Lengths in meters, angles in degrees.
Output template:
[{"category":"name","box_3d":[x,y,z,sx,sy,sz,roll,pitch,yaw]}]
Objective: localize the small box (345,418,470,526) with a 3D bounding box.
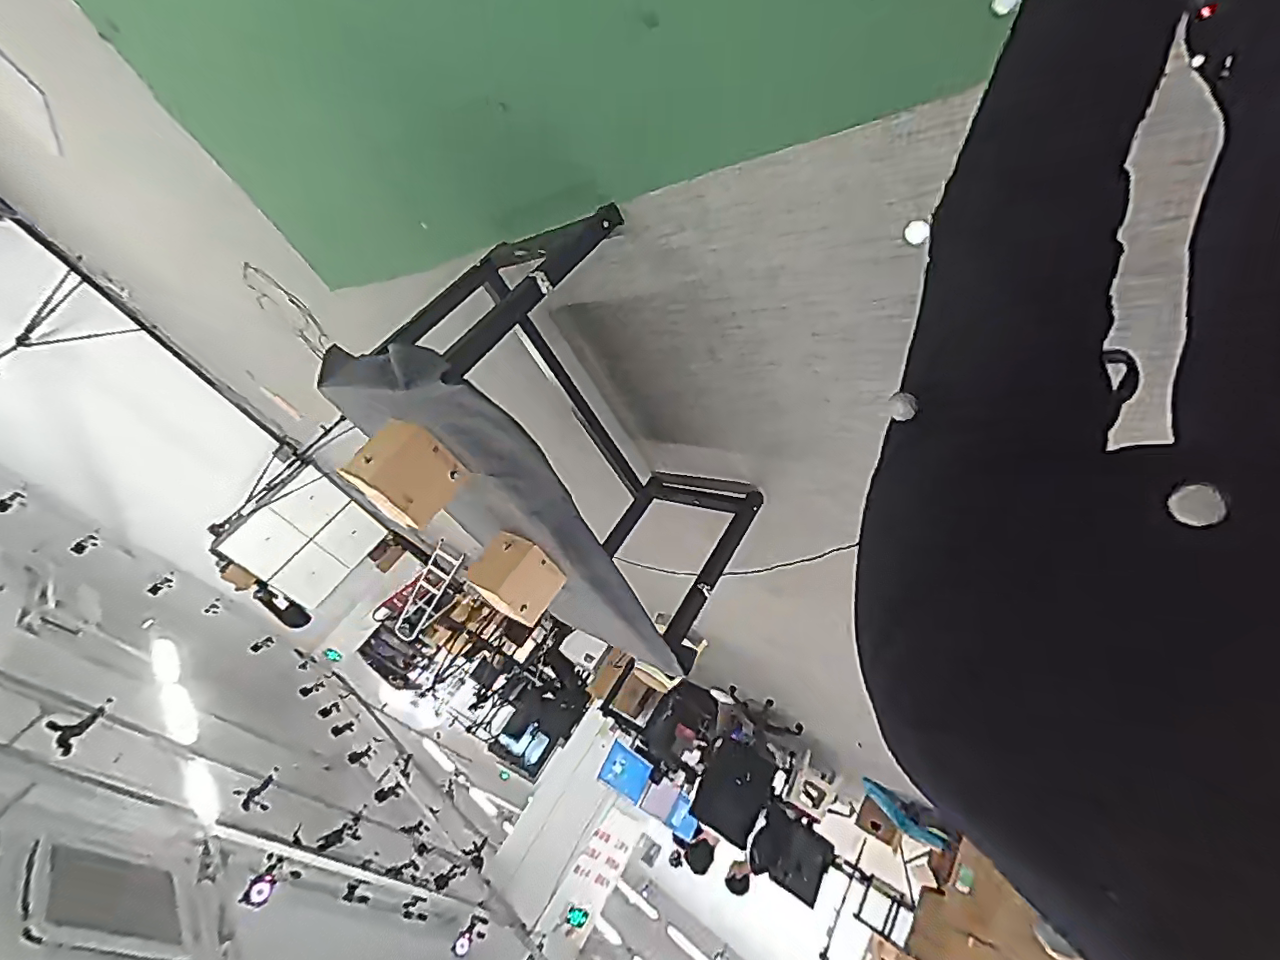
[{"category":"small box","box_3d":[-0.516,-0.024,1.222,0.179,0.176,0.168,13,147,44]}]

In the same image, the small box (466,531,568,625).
[{"category":"small box","box_3d":[-0.332,0.262,1.482,0.179,0.176,0.168,11,145,45]}]
